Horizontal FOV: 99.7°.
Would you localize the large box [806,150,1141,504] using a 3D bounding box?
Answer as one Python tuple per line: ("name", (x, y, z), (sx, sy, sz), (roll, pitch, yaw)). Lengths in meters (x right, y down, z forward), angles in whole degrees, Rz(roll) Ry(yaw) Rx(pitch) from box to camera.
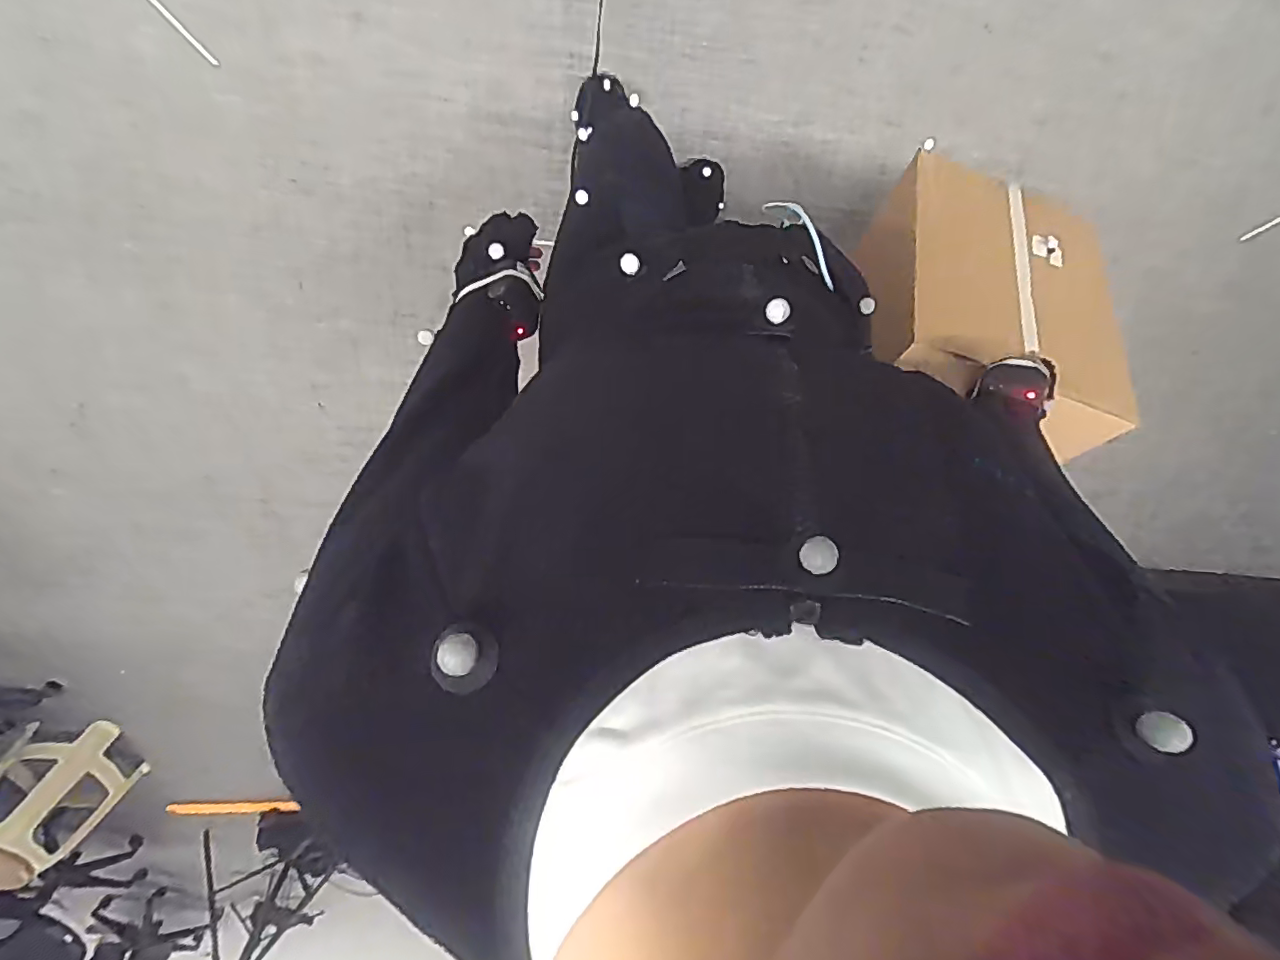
("large box", (0.493, -0.228, 0.879), (0.320, 0.408, 0.320), (19, 152, -5))
